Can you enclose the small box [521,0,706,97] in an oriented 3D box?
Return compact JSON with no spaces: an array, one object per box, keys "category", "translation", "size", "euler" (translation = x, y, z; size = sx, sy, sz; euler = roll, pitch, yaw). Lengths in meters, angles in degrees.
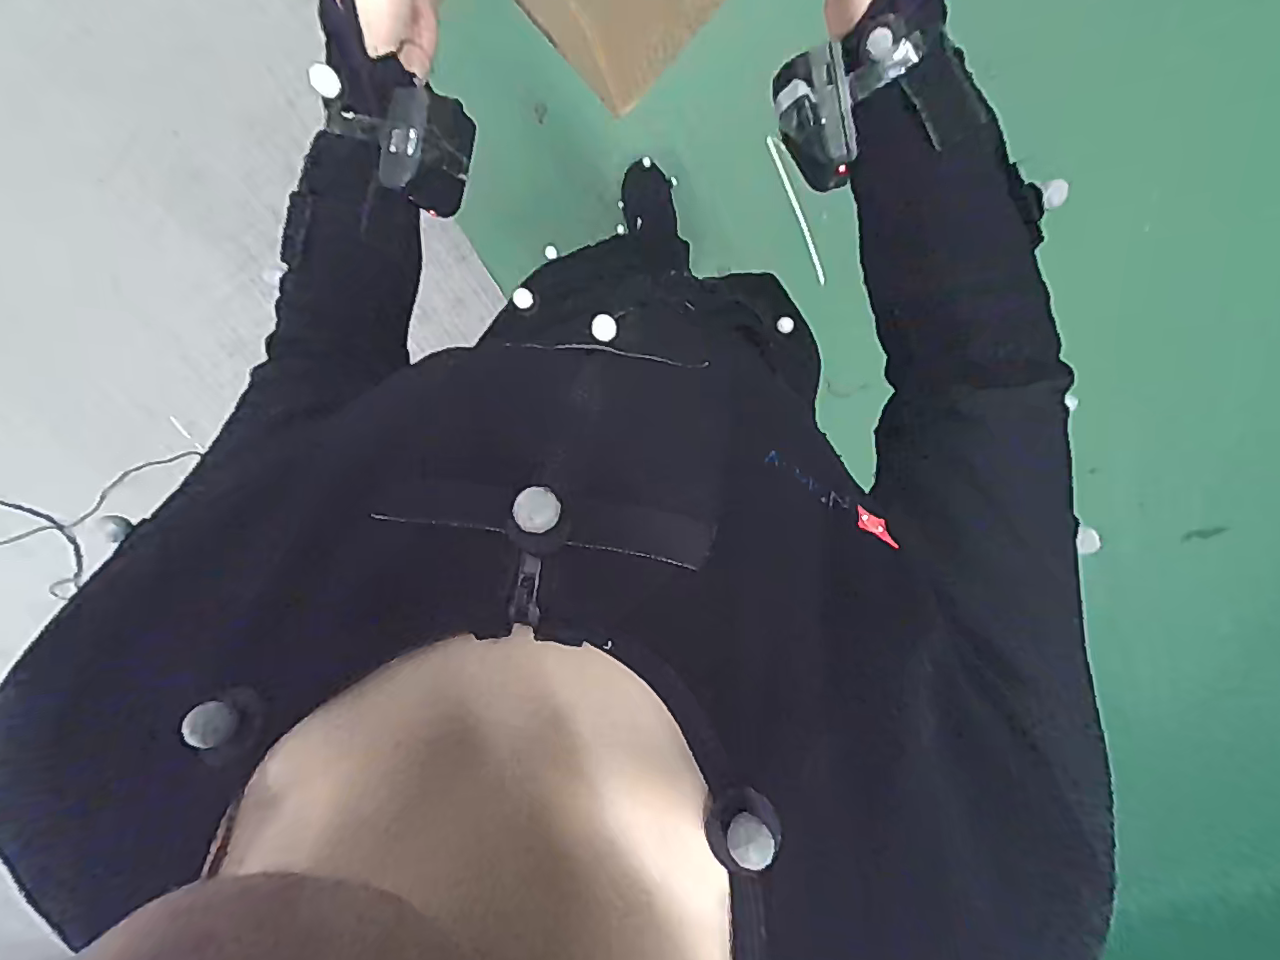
[{"category":"small box","translation":[-0.024,-0.345,0.266],"size":[0.179,0.176,0.168],"euler":[-42,95,17]}]
